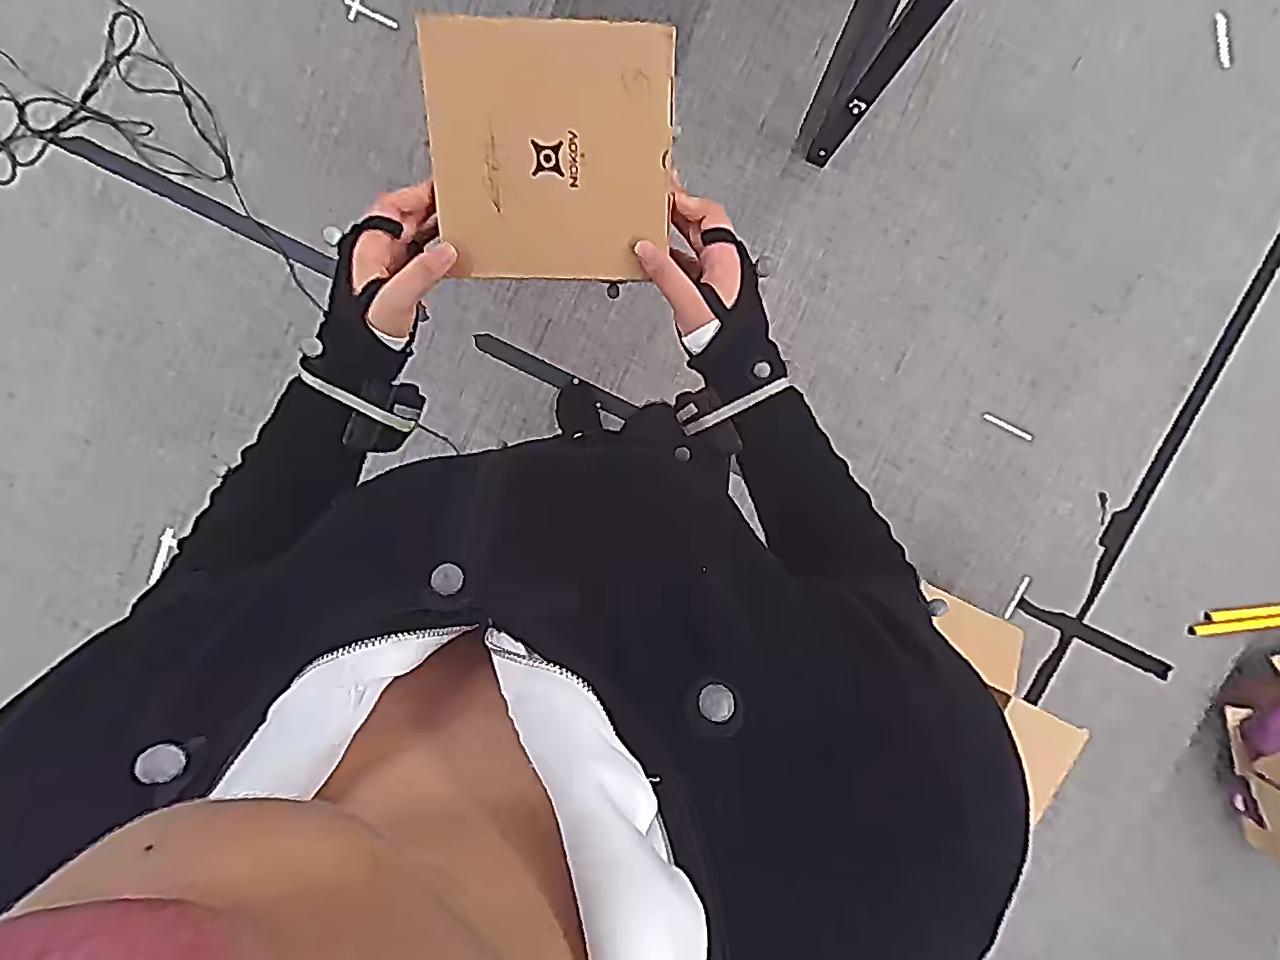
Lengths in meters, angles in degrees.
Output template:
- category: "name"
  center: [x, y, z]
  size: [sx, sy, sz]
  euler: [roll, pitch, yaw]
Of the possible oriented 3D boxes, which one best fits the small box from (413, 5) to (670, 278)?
- category: "small box"
  center: [-0.071, -0.266, 0.466]
  size: [0.179, 0.176, 0.168]
  euler: [-1, 109, -2]
